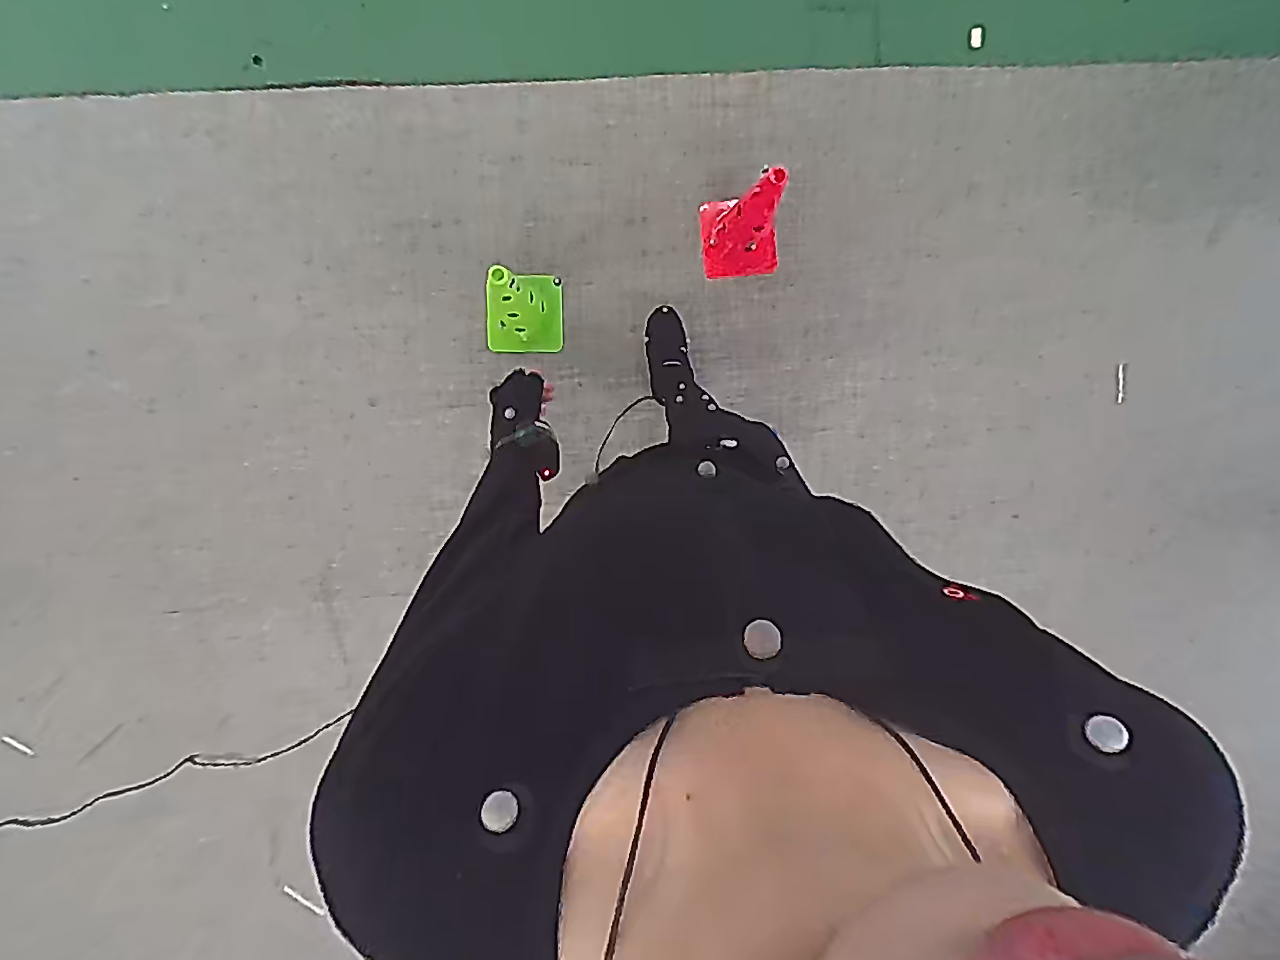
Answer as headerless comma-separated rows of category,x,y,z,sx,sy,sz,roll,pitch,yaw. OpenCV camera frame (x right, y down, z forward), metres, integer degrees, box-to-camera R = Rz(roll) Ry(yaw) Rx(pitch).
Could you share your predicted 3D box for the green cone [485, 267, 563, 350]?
green cone,-0.299,-0.431,1.263,0.200,0.368,0.202,-2,96,-3
